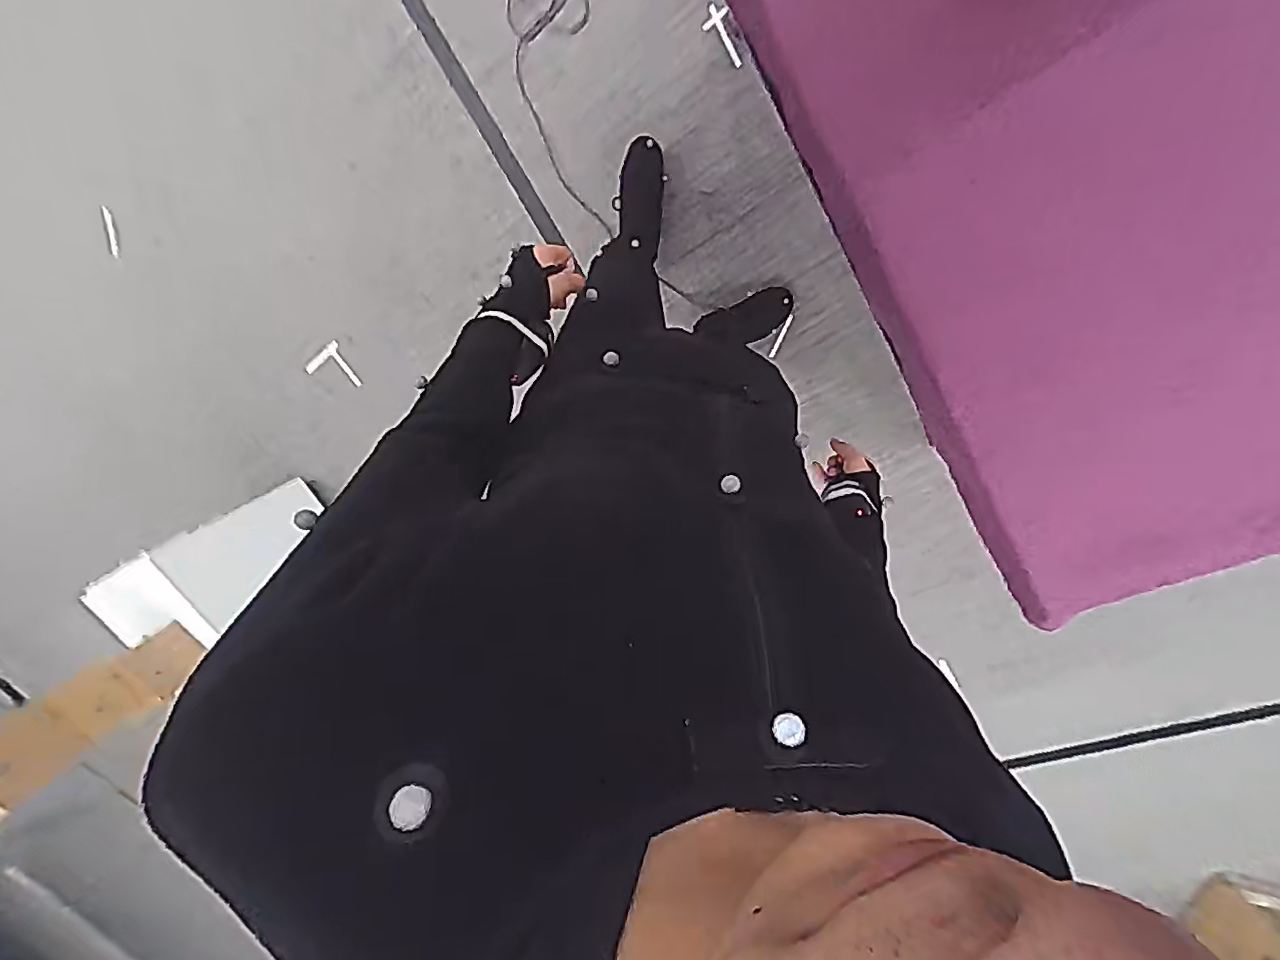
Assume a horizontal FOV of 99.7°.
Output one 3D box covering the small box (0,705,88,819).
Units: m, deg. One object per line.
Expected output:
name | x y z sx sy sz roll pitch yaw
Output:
small box | -1.477 0.666 1.270 0.168 0.176 0.179 -27 105 23

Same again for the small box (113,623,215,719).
small box | -1.394 0.548 1.565 0.168 0.176 0.179 -31 103 23

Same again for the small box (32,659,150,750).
small box | -1.455 0.601 1.421 0.179 0.176 0.168 -30 104 24
